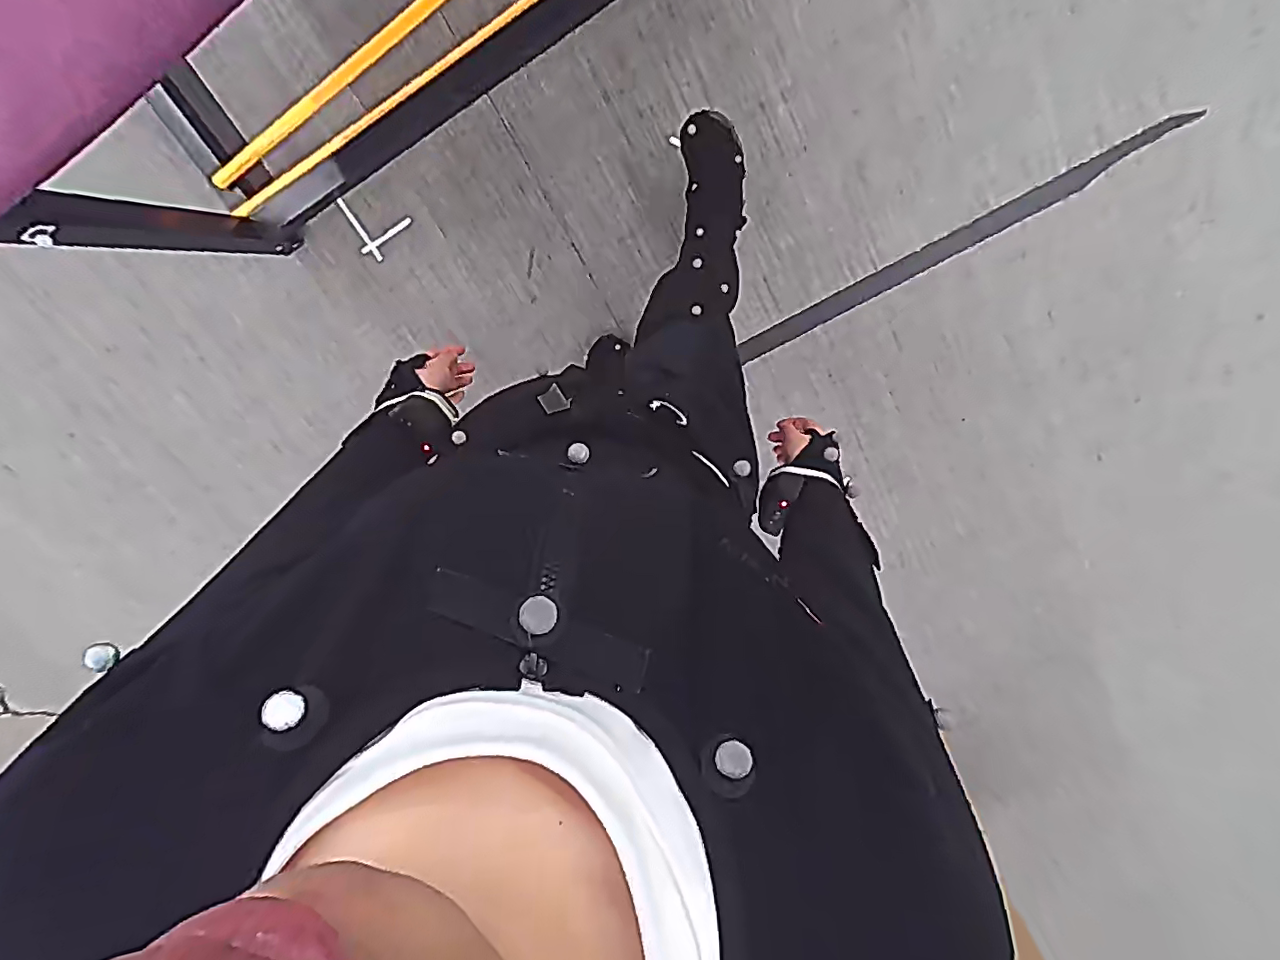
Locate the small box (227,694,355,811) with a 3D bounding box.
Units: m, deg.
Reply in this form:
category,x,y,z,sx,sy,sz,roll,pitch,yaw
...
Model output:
category,x,y,z,sx,sy,sz,roll,pitch,yaw
small box,-0.872,0.683,1.370,0.179,0.176,0.168,-29,108,10
